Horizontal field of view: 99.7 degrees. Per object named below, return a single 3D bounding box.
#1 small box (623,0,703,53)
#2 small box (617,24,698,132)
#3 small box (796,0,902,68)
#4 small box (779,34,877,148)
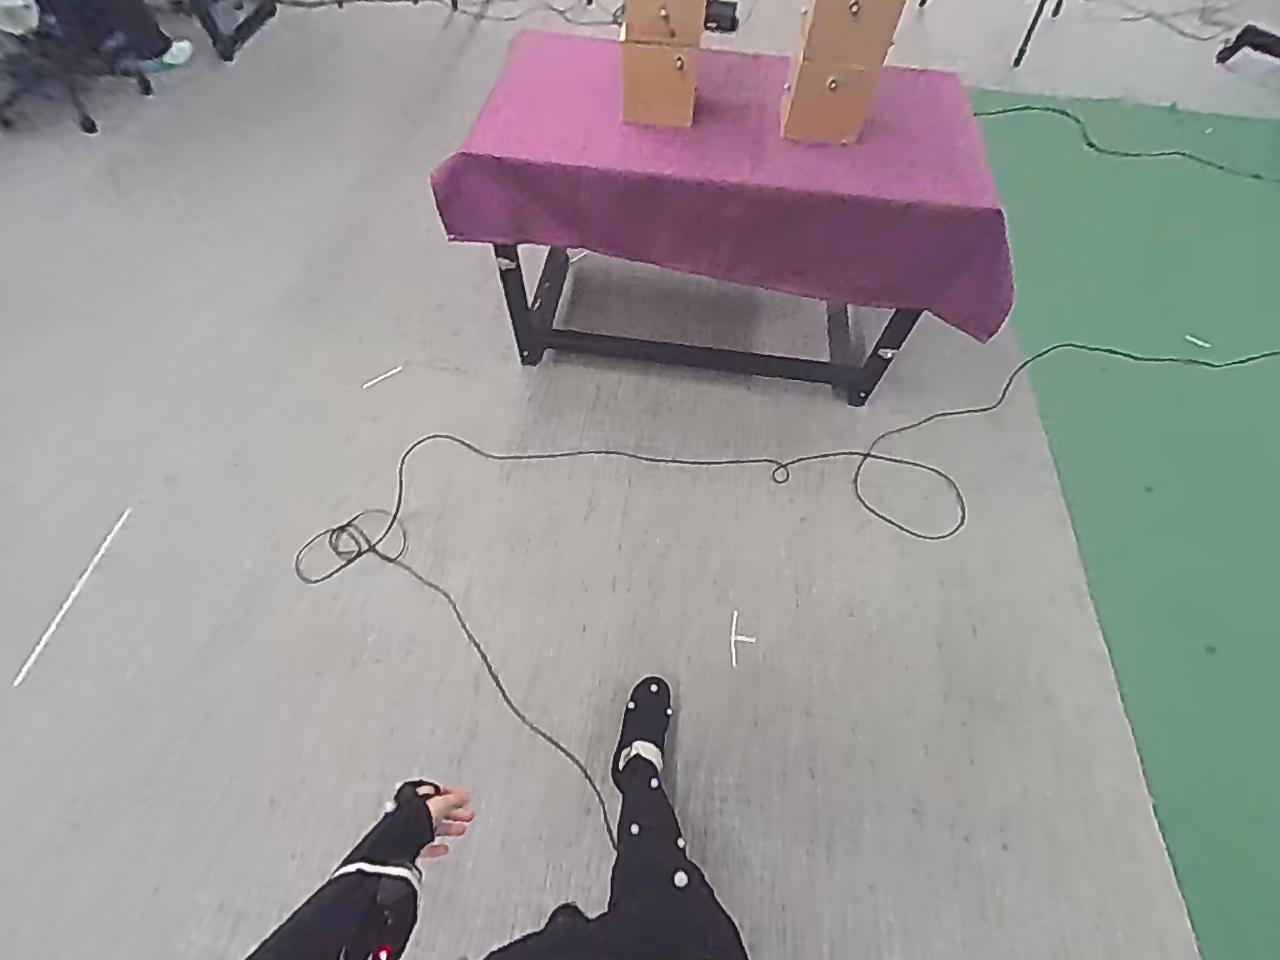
[{"bbox_3d":[0.054,-1.042,1.139,0.168,0.176,0.179,6,60,1],"label":"small box"},{"bbox_3d":[0.041,-0.957,1.281,0.179,0.176,0.168,6,60,1],"label":"small box"},{"bbox_3d":[0.432,-0.988,1.119,0.179,0.176,0.168,6,61,3],"label":"small box"},{"bbox_3d":[0.429,-0.905,1.261,0.179,0.176,0.168,8,61,2],"label":"small box"}]
